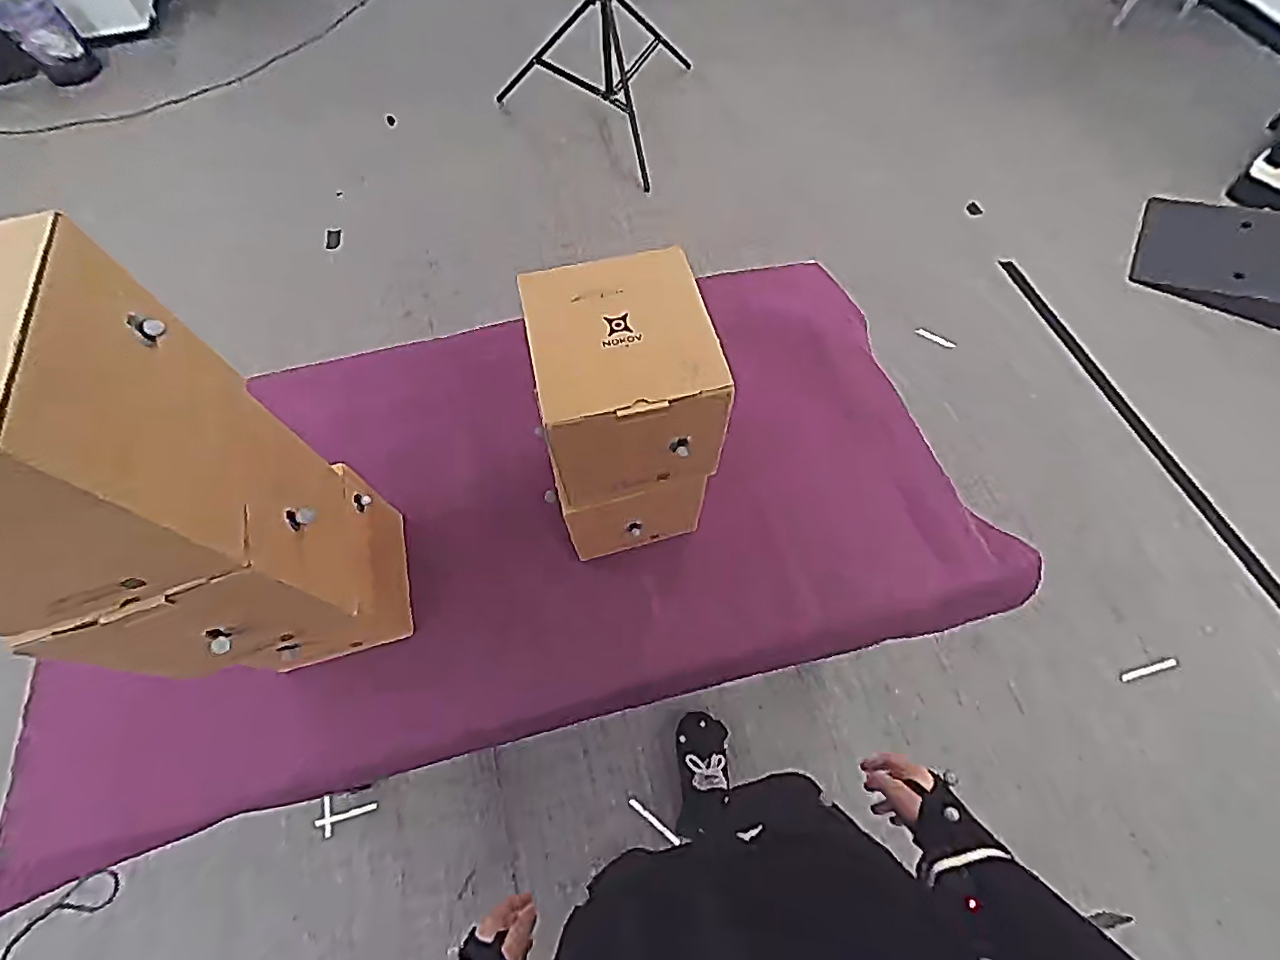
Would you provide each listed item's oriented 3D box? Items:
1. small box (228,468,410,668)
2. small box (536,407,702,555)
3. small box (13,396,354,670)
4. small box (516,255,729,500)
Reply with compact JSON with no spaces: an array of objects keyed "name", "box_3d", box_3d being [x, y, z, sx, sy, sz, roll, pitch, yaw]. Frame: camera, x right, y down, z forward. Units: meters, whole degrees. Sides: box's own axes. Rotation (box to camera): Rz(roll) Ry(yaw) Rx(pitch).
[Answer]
[{"name":"small box","box_3d":[-0.392,0.115,0.646,0.168,0.176,0.179,-15,64,-6]},{"name":"small box","box_3d":[-0.027,-0.015,0.700,0.168,0.176,0.179,-14,64,-6]},{"name":"small box","box_3d":[-0.385,0.060,0.490,0.168,0.176,0.179,-19,65,-8]},{"name":"small box","box_3d":[-0.019,-0.093,0.557,0.168,0.176,0.179,-12,64,-6]}]
